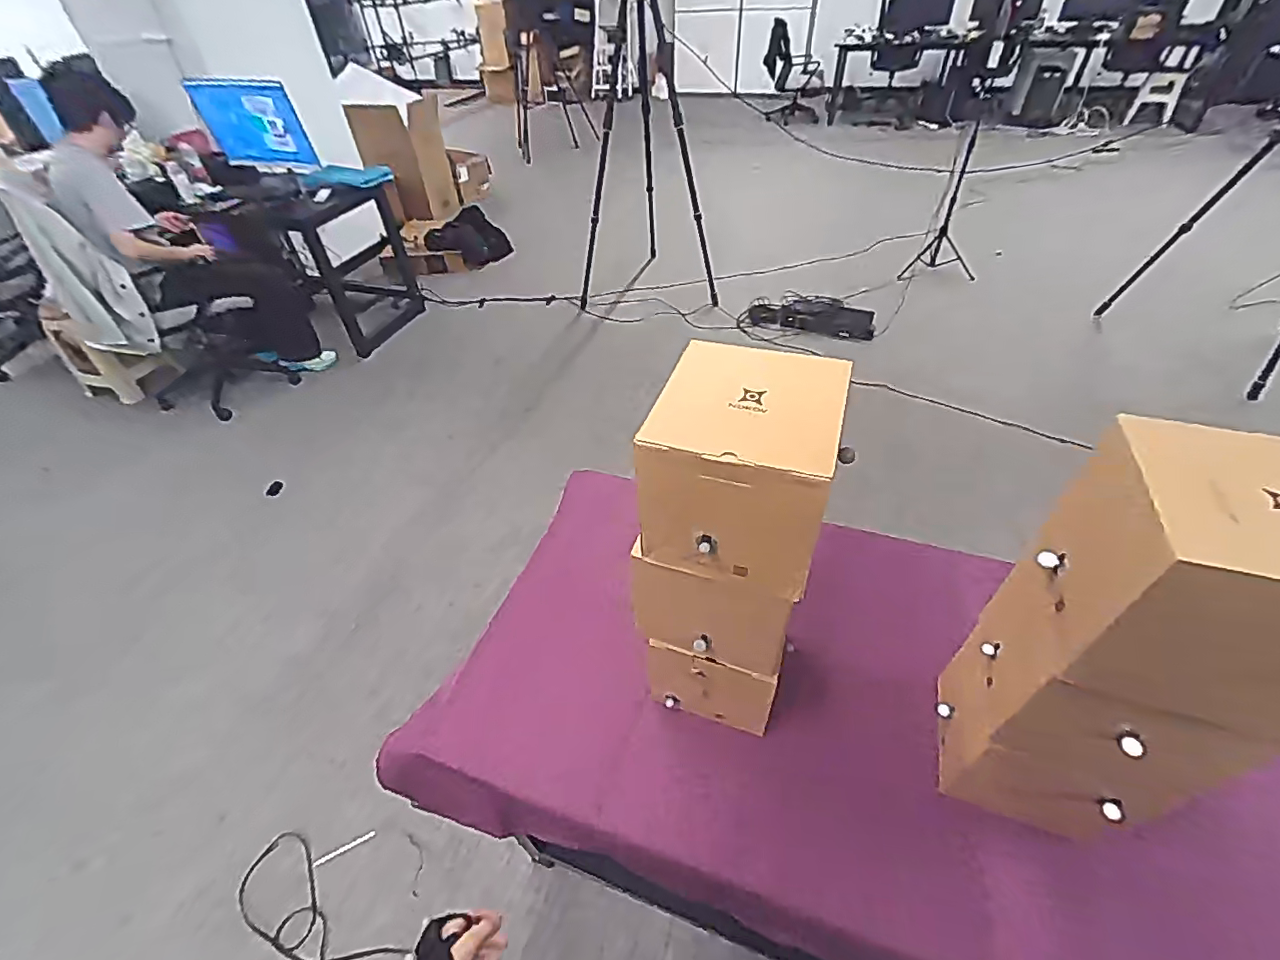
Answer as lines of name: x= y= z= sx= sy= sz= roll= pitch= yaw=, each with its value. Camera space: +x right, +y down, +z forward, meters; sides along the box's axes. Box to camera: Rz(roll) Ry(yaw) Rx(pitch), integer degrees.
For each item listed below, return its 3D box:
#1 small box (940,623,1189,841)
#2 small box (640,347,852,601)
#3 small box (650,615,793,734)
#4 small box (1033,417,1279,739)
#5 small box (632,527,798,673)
small box: x=0.491 y=0.309 z=0.660 sx=0.179 sy=0.176 sz=0.168 roll=13 pitch=46 yaw=17
small box: x=0.106 y=-0.009 z=0.550 sx=0.168 sy=0.176 sz=0.179 roll=12 pitch=47 yaw=16
small box: x=0.122 y=0.230 z=0.773 sx=0.168 sy=0.176 sz=0.179 roll=13 pitch=45 yaw=16
small box: x=0.456 y=0.077 z=0.430 sx=0.179 sy=0.176 sz=0.168 roll=13 pitch=45 yaw=17
small box: x=0.103 y=0.110 z=0.662 sx=0.179 sy=0.176 sz=0.168 roll=14 pitch=46 yaw=17
